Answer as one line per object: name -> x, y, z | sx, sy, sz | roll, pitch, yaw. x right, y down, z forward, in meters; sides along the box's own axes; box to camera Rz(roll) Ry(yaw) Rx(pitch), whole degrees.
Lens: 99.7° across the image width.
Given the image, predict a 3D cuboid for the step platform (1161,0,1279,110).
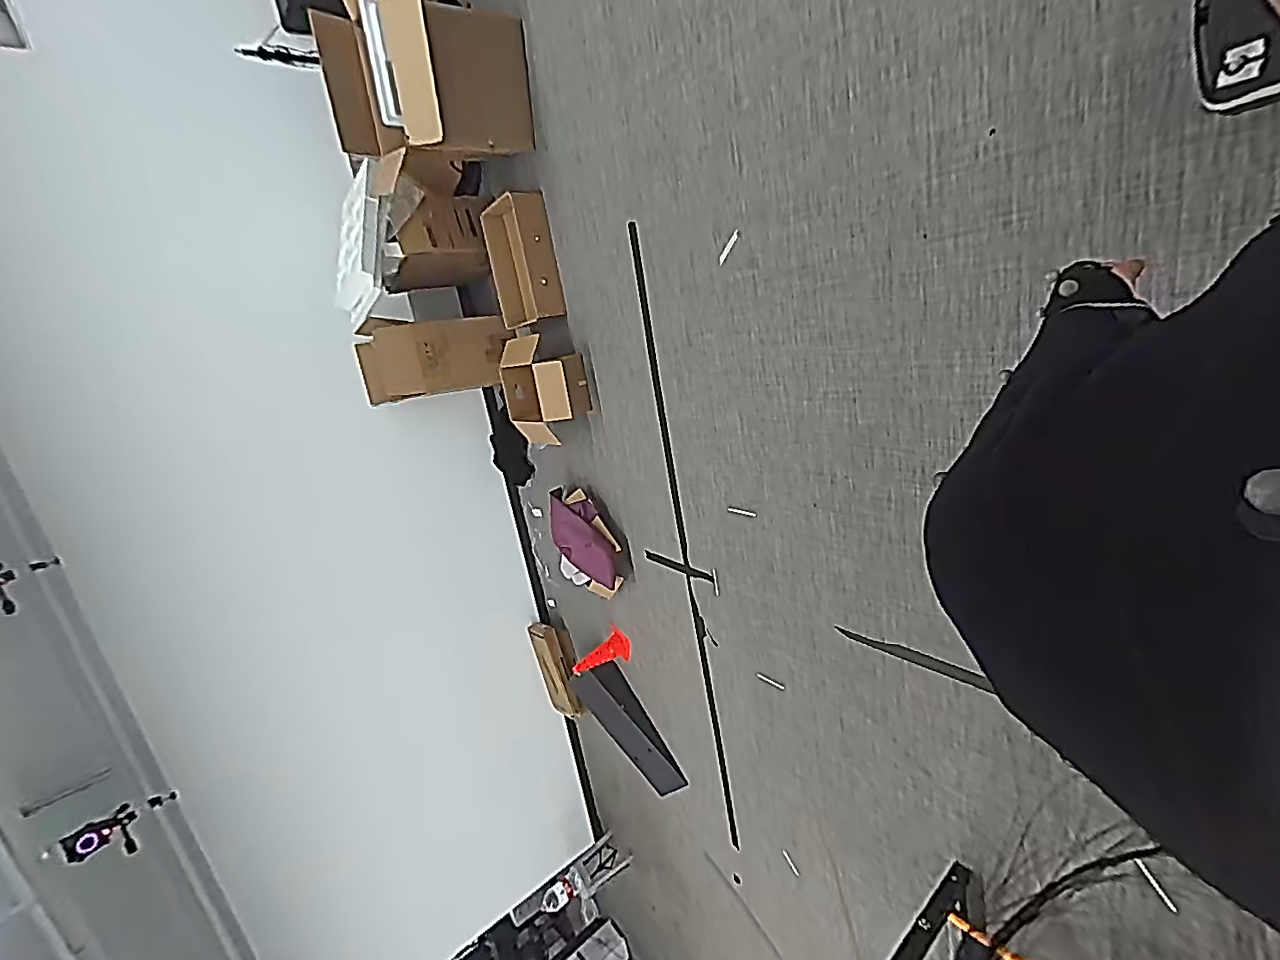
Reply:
step platform -> 0.968, -0.640, 0.496 | 0.684, 0.204, 0.286 | 8, 113, 53
